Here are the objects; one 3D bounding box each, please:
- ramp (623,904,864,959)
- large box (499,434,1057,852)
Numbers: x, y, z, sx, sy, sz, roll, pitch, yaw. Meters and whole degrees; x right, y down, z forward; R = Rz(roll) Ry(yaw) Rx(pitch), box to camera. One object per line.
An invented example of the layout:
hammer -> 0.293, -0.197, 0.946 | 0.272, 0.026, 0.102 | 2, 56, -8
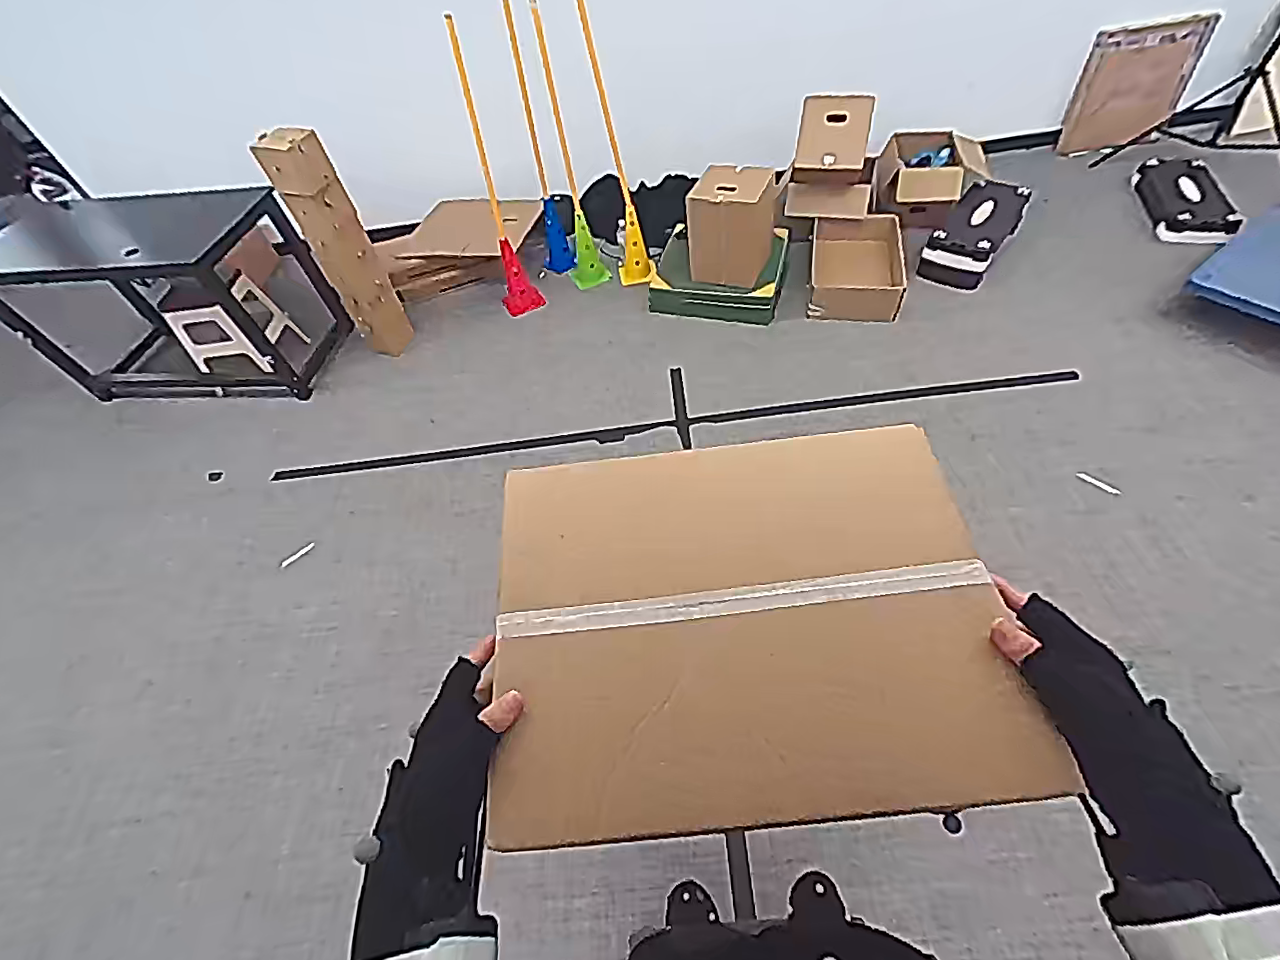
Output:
ramp -> 0.244, 1.356, 0.918 | 0.509, 0.206, 0.991 | -7, 53, 0
large box -> 0.095, 0.183, 0.581 | 0.408, 0.320, 0.320 | -6, 57, 1
